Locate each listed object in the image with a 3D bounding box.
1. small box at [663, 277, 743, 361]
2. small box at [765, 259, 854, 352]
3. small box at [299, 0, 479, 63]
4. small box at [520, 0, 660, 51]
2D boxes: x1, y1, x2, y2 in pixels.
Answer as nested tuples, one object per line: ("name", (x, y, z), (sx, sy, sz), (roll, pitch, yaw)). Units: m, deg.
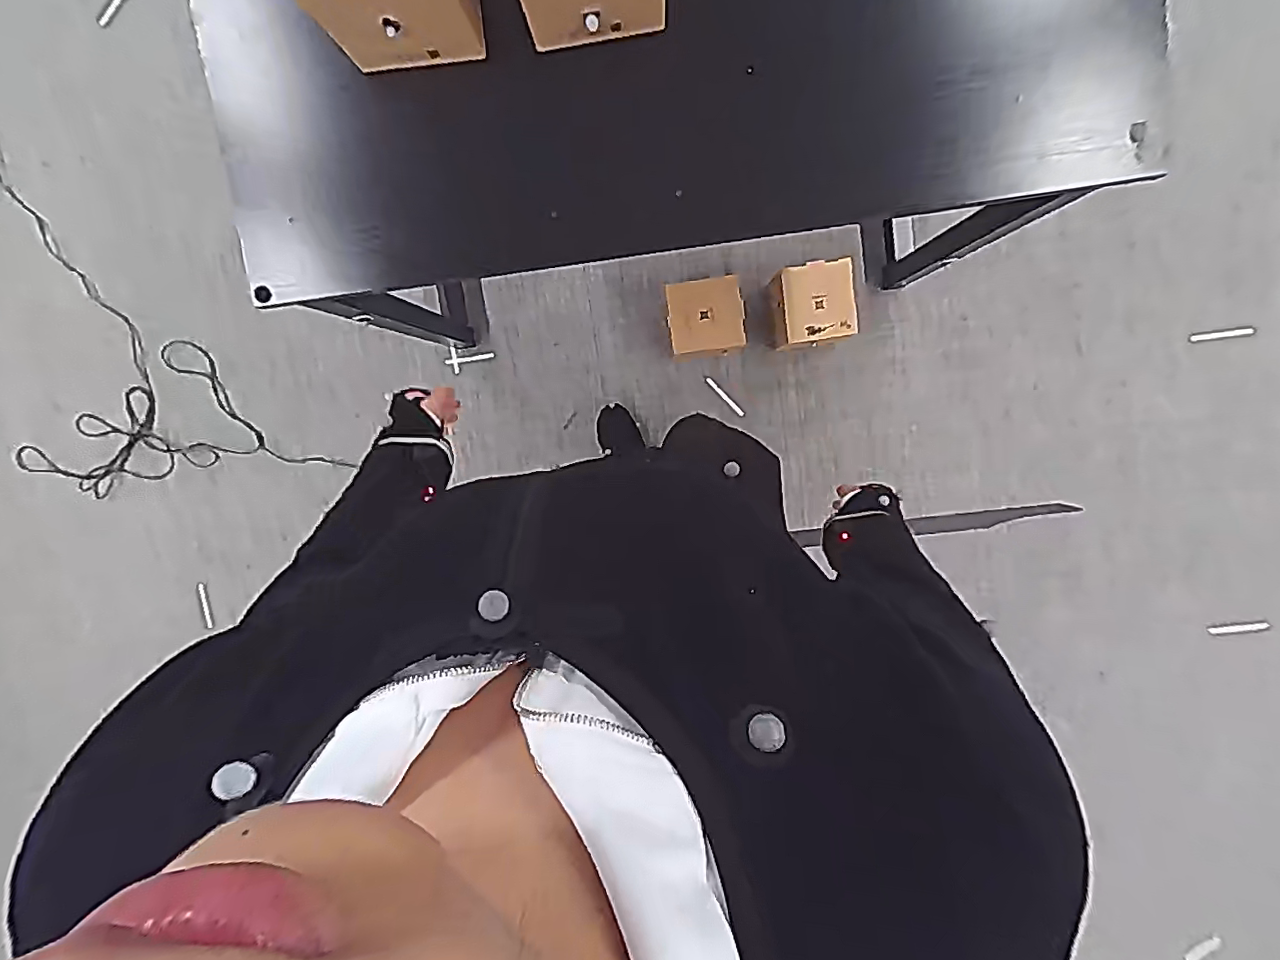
("small box", (0.152, -0.397, 1.356), (0.179, 0.176, 0.168), (-8, 96, 4))
("small box", (0.413, -0.425, 1.340), (0.168, 0.176, 0.179), (-8, 97, 4))
("small box", (-0.292, -0.608, 0.608), (0.168, 0.176, 0.179), (-4, 97, 2))
("small box", (-0.069, -0.631, 0.597), (0.168, 0.176, 0.179), (-8, 98, 4))
